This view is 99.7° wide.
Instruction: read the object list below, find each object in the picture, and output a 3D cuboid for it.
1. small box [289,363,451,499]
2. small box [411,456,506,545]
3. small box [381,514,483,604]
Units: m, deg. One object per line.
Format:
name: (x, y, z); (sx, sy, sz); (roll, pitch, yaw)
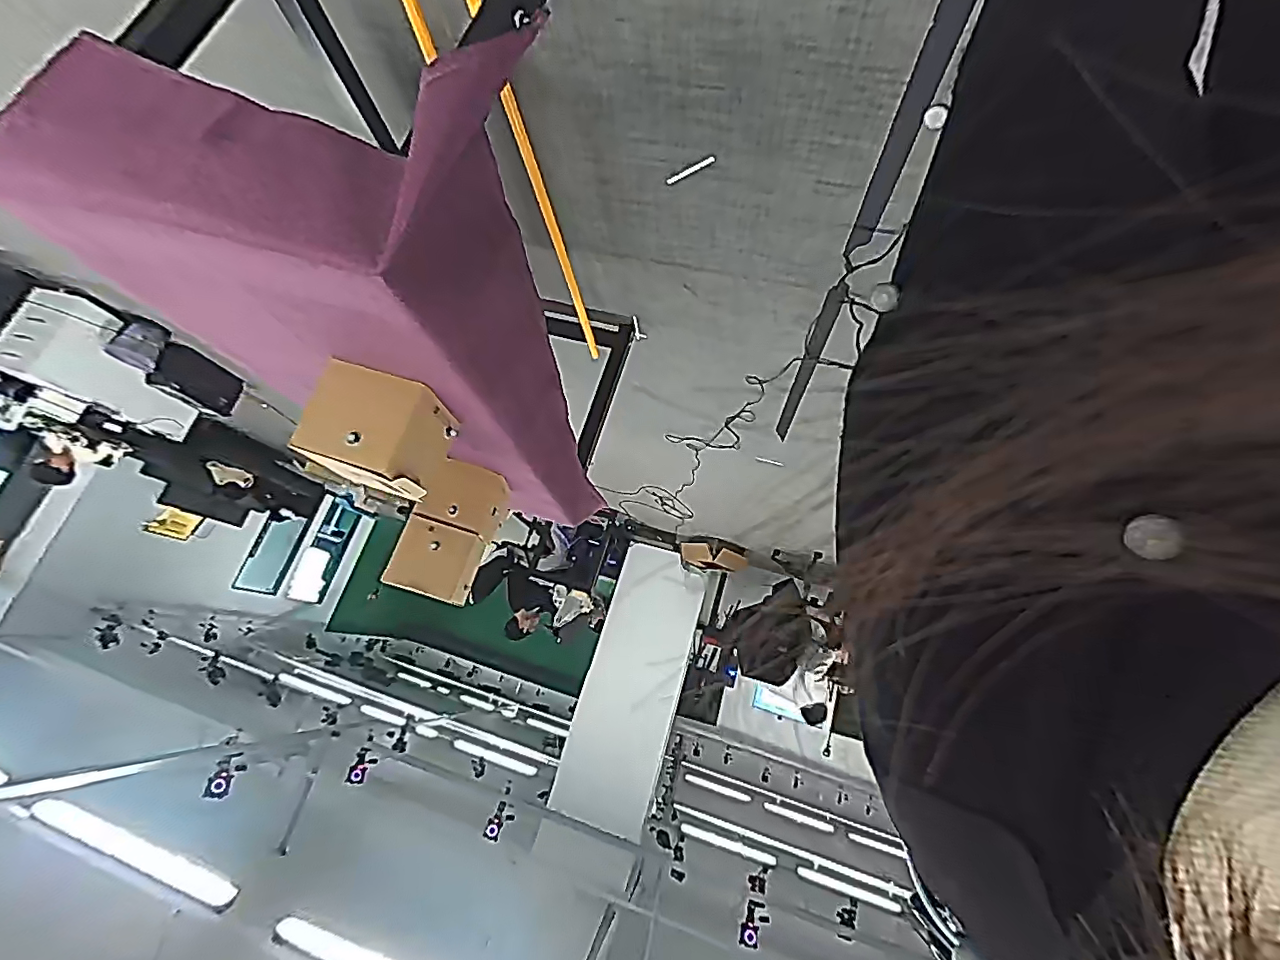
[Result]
small box: (-0.458, -0.085, 0.954); (0.179, 0.176, 0.168); (17, 163, 7)
small box: (-0.456, 0.052, 1.398); (0.179, 0.176, 0.168); (18, 163, -1)
small box: (-0.506, 0.200, 1.345); (0.168, 0.176, 0.179); (18, 162, -3)
